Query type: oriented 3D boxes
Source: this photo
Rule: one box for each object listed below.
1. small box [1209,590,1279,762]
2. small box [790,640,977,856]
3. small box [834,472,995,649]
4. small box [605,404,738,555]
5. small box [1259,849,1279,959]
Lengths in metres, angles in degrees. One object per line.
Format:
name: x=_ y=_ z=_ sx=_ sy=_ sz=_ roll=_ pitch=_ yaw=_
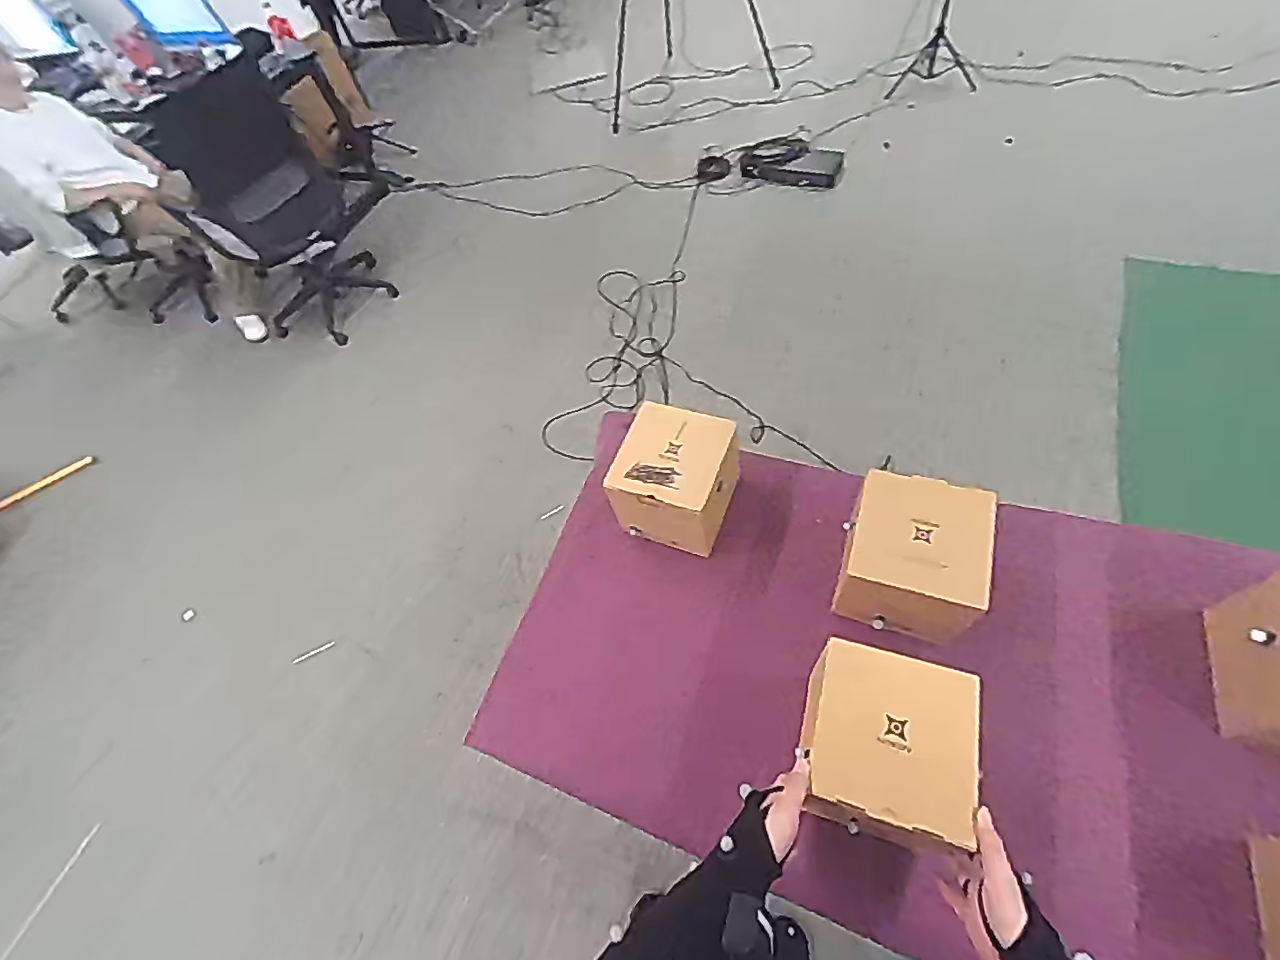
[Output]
small box: x=0.816 y=0.234 z=0.622 sx=0.168 sy=0.176 sz=0.179 roll=13 pitch=60 yaw=20
small box: x=0.285 y=0.323 z=0.655 sx=0.168 sy=0.176 sz=0.179 roll=12 pitch=60 yaw=16
small box: x=0.388 y=0.118 z=0.784 sx=0.168 sy=0.176 sz=0.179 roll=14 pitch=62 yaw=20
small box: x=0.064 y=0.004 z=0.917 sx=0.168 sy=0.176 sz=0.179 roll=16 pitch=63 yaw=19
small box: x=0.726 y=0.459 z=0.487 sx=0.168 sy=0.176 sz=0.179 roll=14 pitch=60 yaw=21
